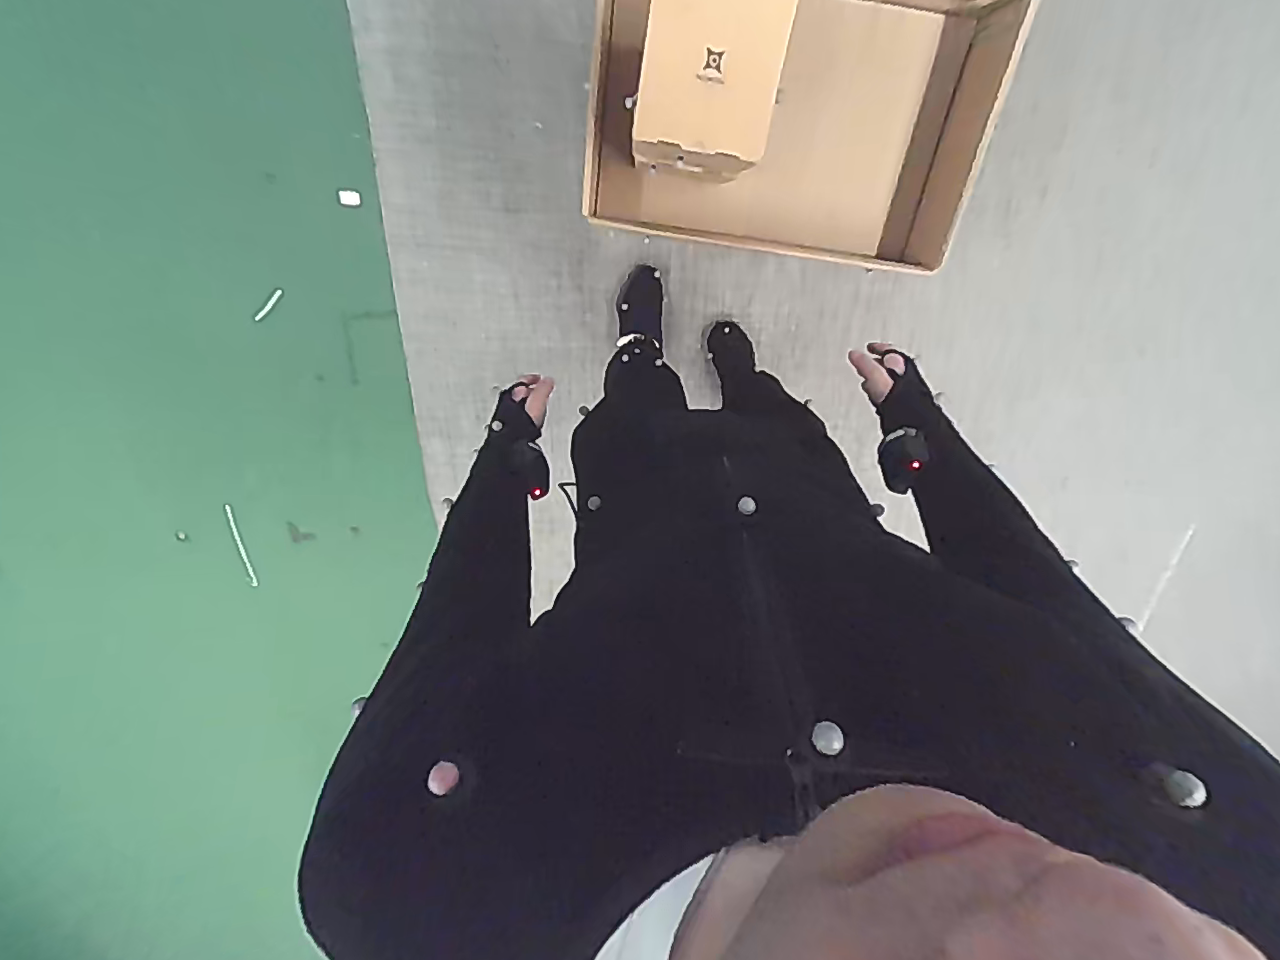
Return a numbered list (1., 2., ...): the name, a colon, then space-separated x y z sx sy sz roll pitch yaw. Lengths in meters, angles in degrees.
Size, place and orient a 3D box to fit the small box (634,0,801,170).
1. small box: 0.085 -0.519 0.701 0.168 0.176 0.179 7 117 -6
